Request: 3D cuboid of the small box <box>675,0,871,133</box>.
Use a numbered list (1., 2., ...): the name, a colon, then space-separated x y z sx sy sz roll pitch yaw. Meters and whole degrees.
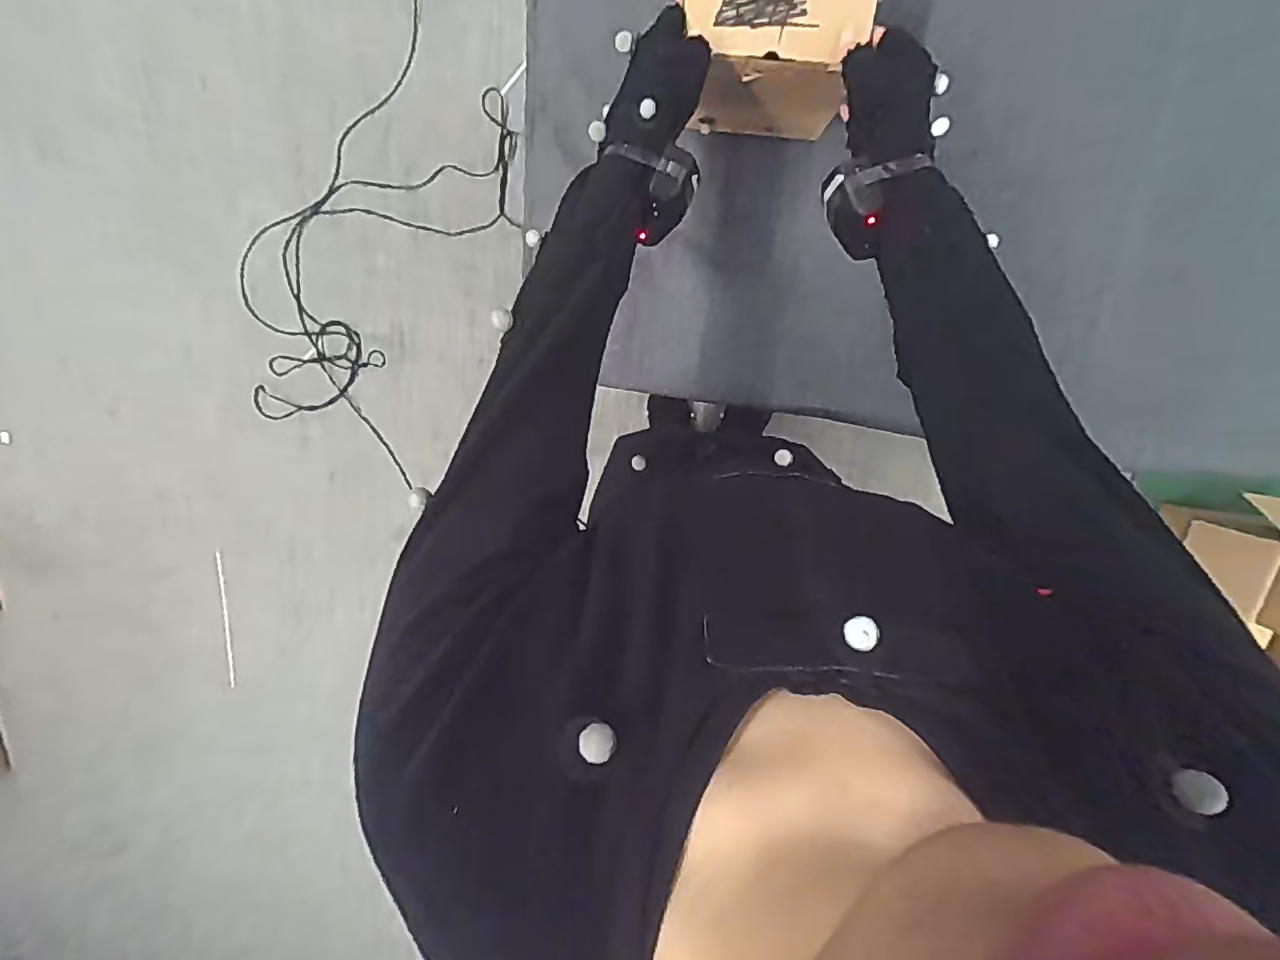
1. small box: 0.129 -0.472 0.533 0.168 0.176 0.179 7 103 3
